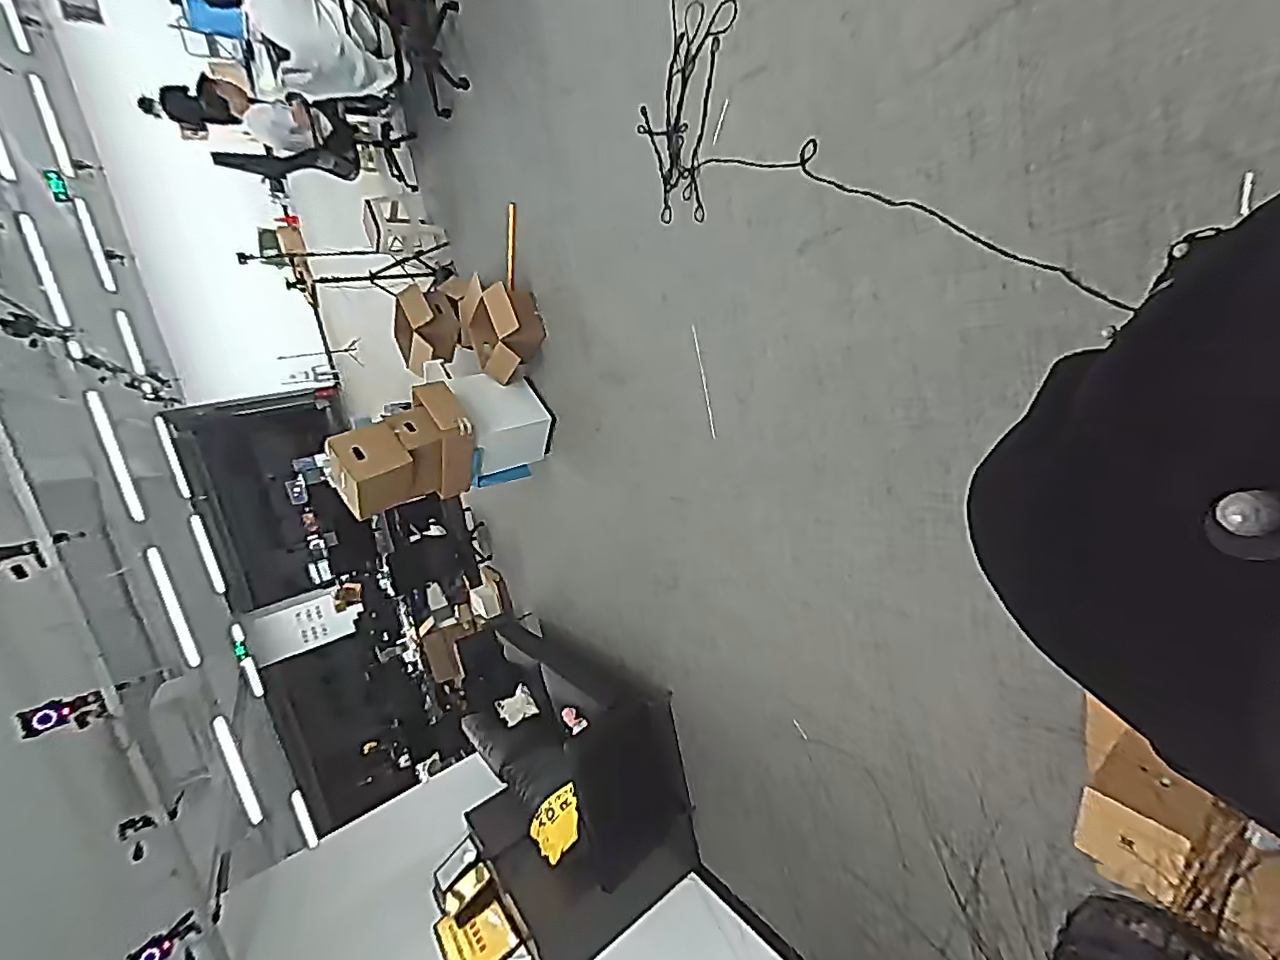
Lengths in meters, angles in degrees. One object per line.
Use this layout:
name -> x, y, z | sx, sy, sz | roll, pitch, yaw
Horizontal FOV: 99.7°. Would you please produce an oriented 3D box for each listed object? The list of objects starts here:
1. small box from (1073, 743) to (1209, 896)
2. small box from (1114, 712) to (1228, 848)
small box -> 1.061, 0.708, 1.147 | 0.168, 0.176, 0.179 | 20, 121, 51
small box -> 1.196, 0.669, 1.232 | 0.168, 0.176, 0.179 | 17, 119, 53
